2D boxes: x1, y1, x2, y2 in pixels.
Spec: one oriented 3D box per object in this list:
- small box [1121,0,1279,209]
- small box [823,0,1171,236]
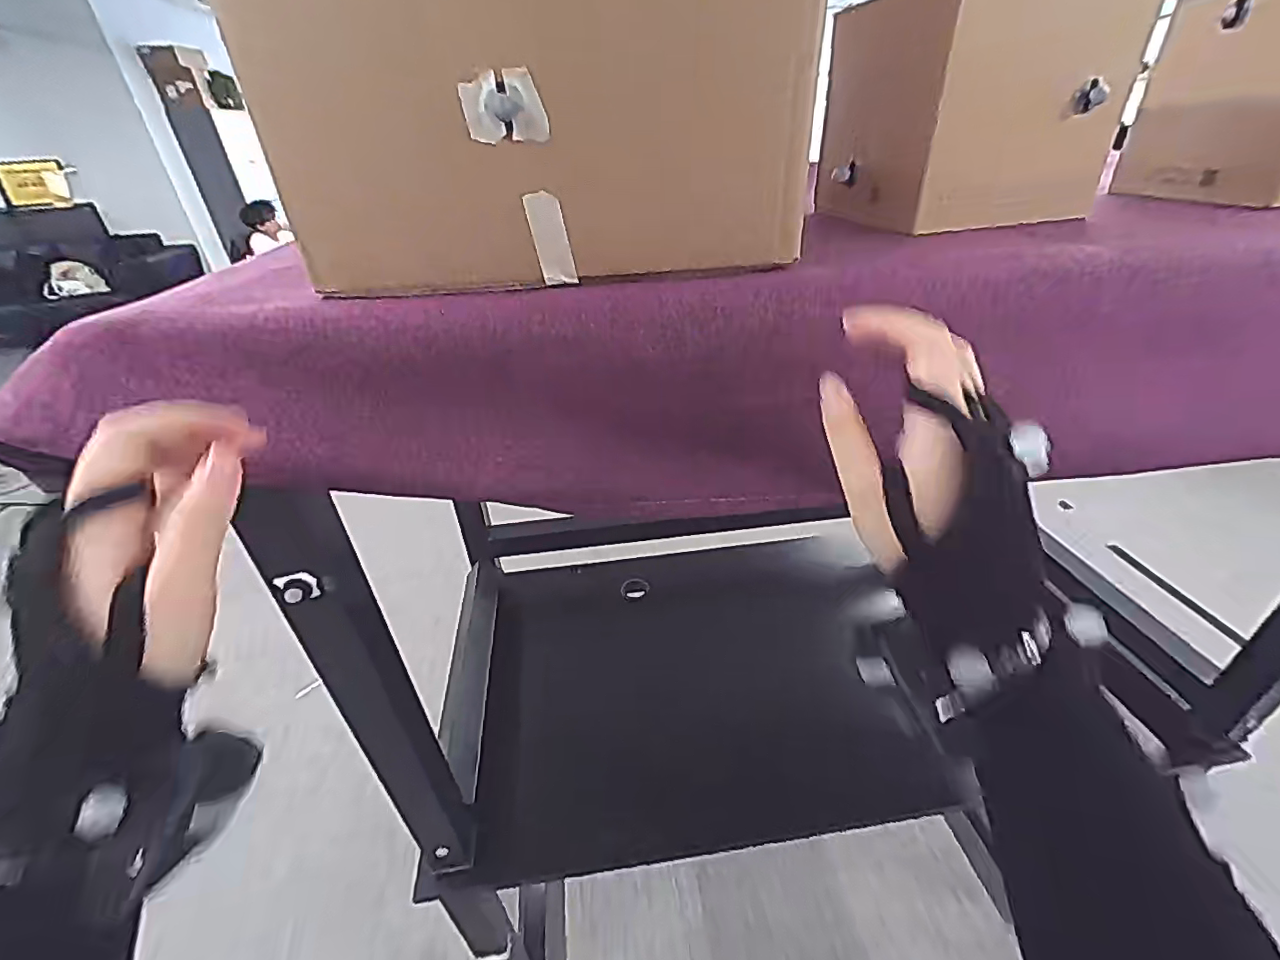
[{"bbox_3d":[0.607,-0.350,0.489,0.179,0.176,0.168,-6,32,-5],"label":"small box"},{"bbox_3d":[0.285,-0.322,0.477,0.179,0.176,0.168,-10,33,-10],"label":"small box"}]
